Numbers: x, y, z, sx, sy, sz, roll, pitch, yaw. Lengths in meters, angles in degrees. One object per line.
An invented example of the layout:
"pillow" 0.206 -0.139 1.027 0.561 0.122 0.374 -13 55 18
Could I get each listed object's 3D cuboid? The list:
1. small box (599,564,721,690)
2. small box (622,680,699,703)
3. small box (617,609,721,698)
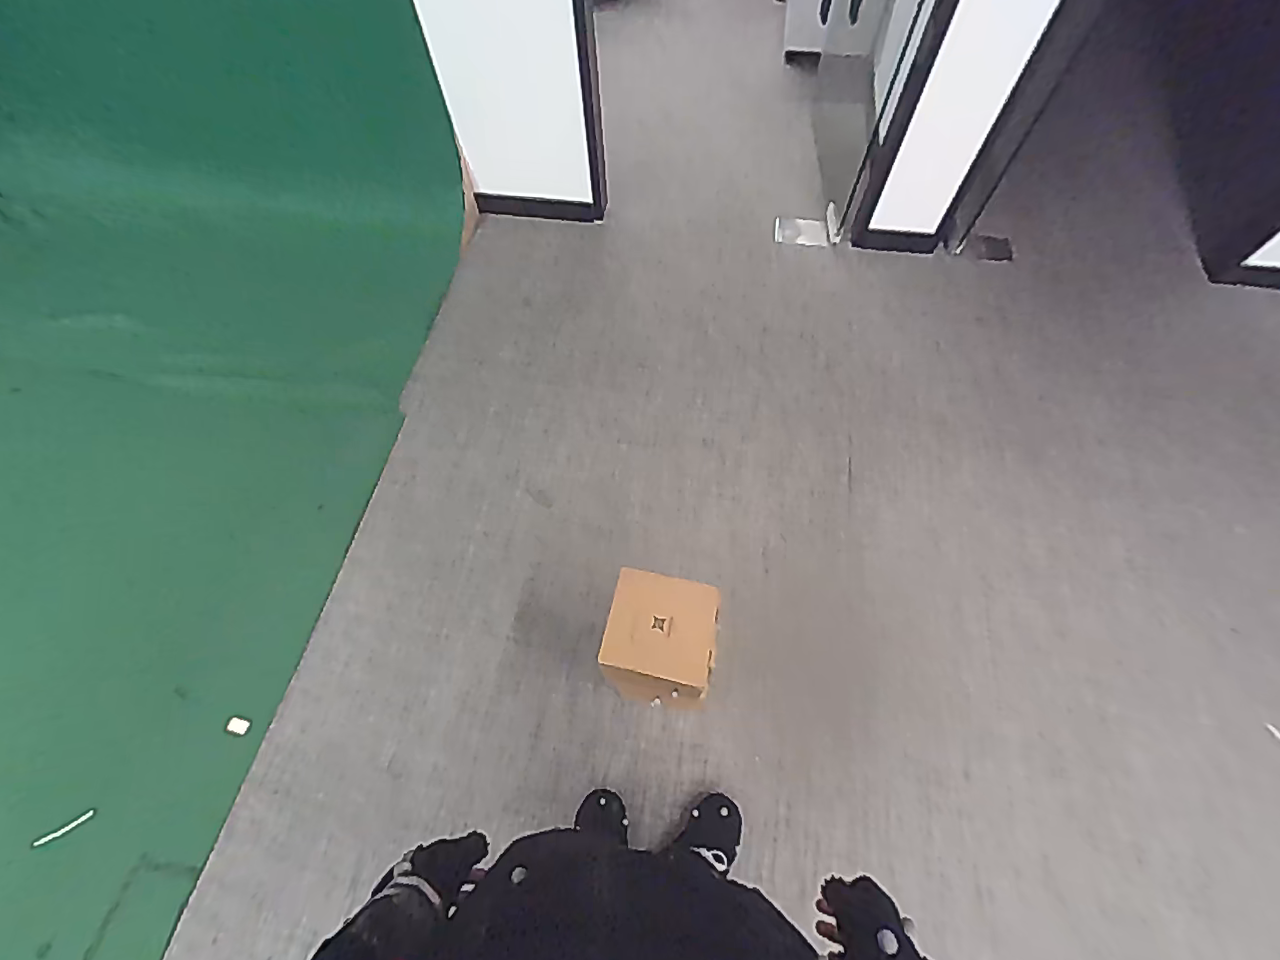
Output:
"small box" 0.039 0.266 0.956 0.179 0.176 0.168 10 63 9
"small box" 0.062 0.406 1.247 0.179 0.176 0.168 13 63 8
"small box" 0.057 0.339 1.101 0.179 0.176 0.168 11 64 7
